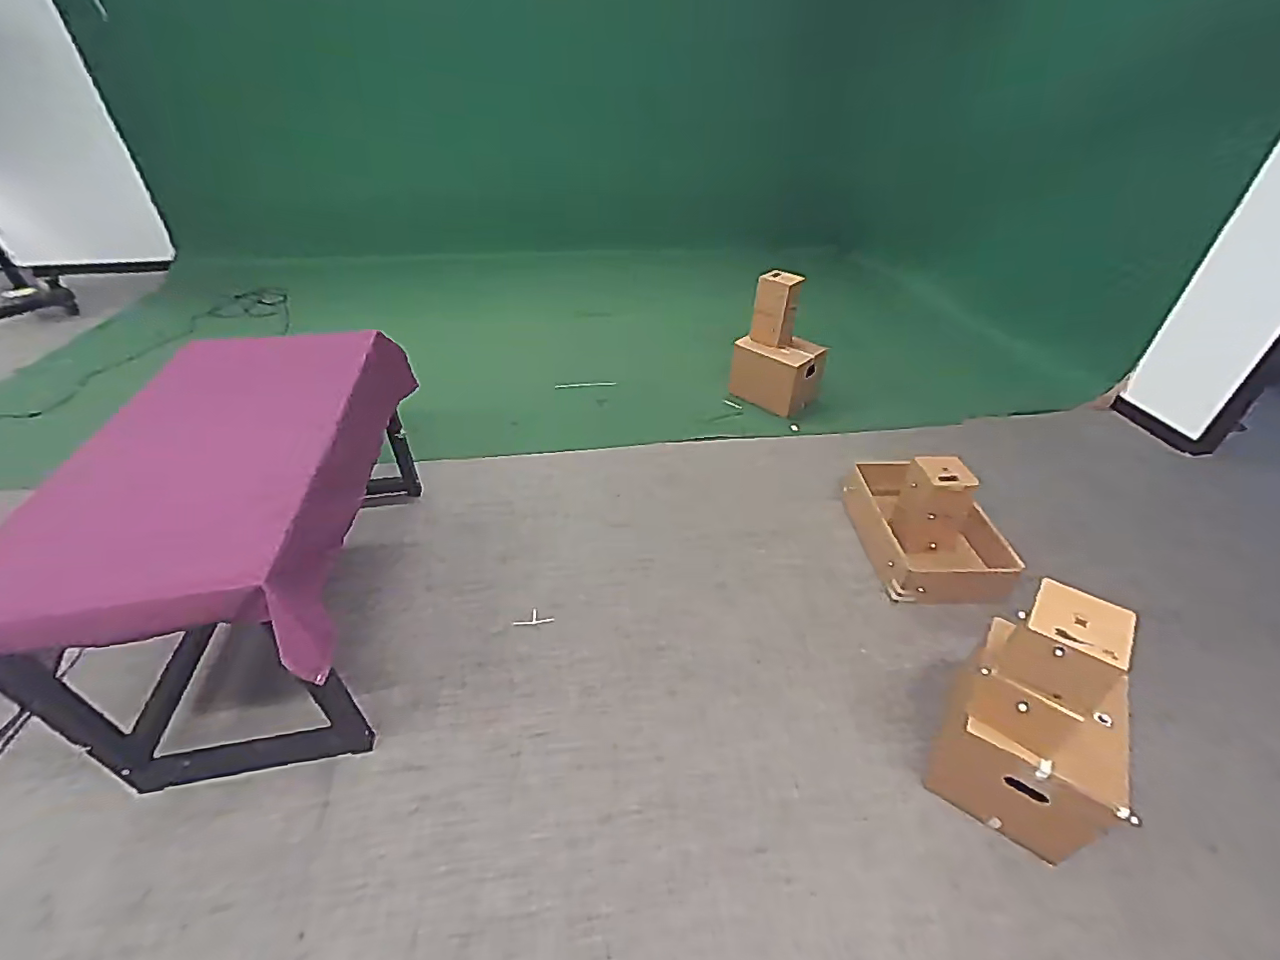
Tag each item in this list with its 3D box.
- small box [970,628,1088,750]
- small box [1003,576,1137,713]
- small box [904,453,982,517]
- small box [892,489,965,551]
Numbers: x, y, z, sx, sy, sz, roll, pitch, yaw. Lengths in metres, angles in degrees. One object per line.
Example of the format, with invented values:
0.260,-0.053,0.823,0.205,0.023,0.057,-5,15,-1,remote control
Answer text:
0.897,0.481,1.235,0.179,0.176,0.168,29,47,35,small box
0.901,0.345,1.143,0.168,0.176,0.179,26,45,33,small box
1.090,0.021,1.961,0.168,0.176,0.179,0,37,-1,small box
1.092,0.150,2.062,0.168,0.176,0.179,-1,39,-1,small box
